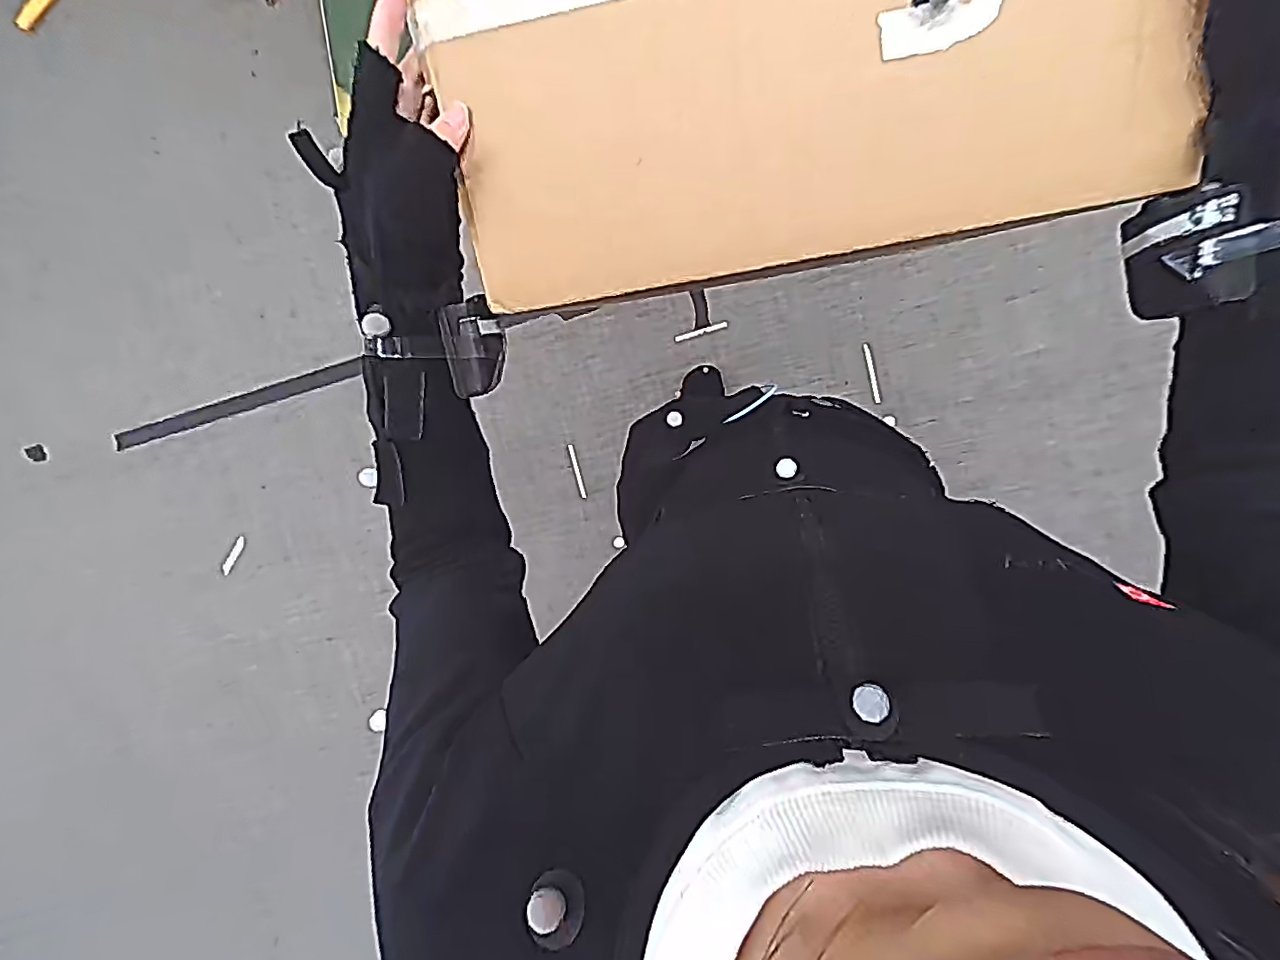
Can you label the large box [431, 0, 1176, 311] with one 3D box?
[{"bbox_3d":[0.085,-0.330,0.432,0.408,0.320,0.320,-9,108,6],"label":"large box"}]
